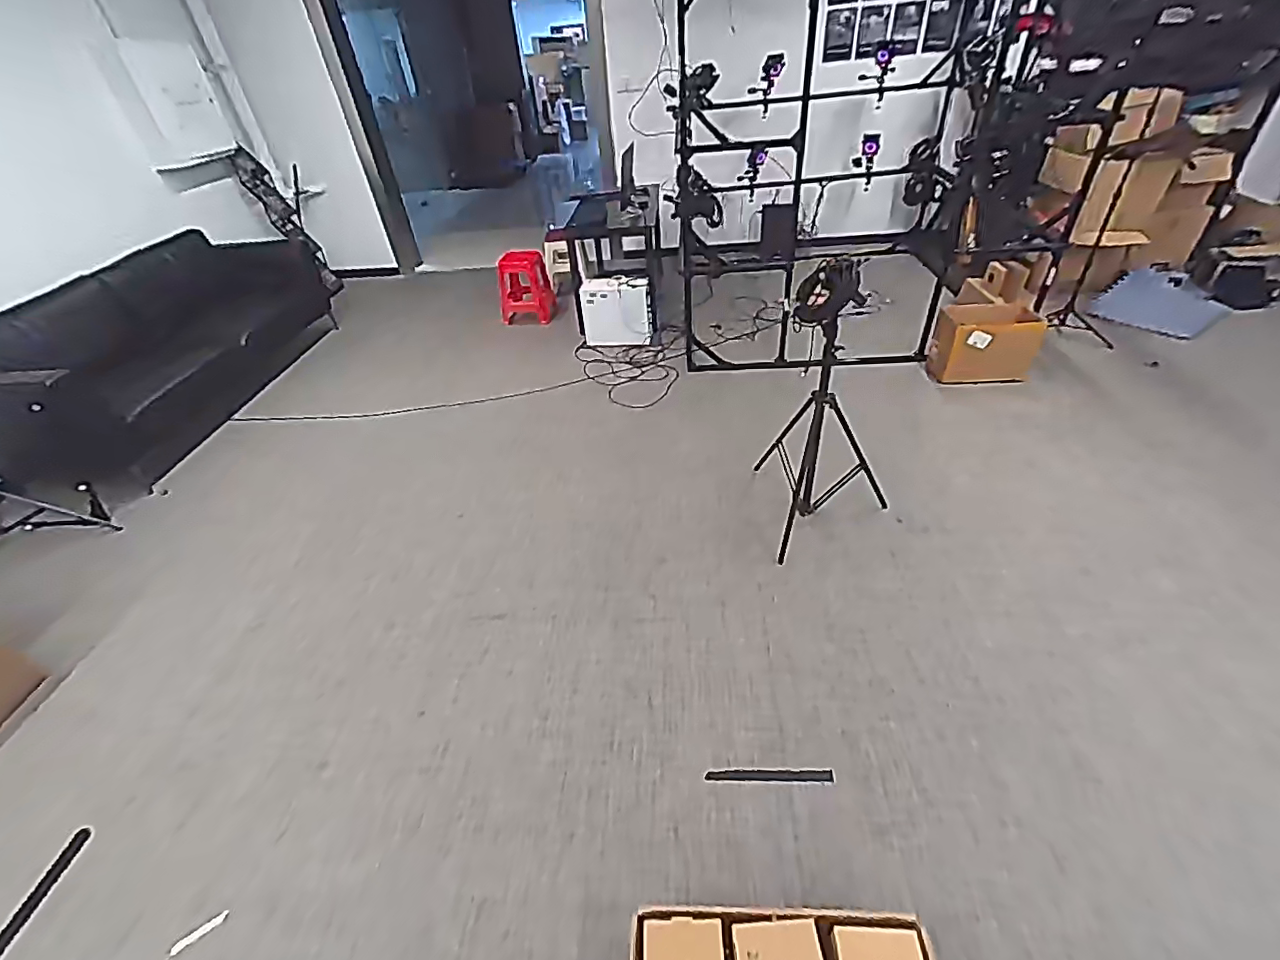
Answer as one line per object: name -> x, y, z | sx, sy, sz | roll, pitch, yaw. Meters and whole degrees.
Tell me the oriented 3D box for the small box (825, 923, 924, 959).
small box -> 0.483, 1.032, 1.097 | 0.168, 0.176, 0.179 | -3, 42, 6
